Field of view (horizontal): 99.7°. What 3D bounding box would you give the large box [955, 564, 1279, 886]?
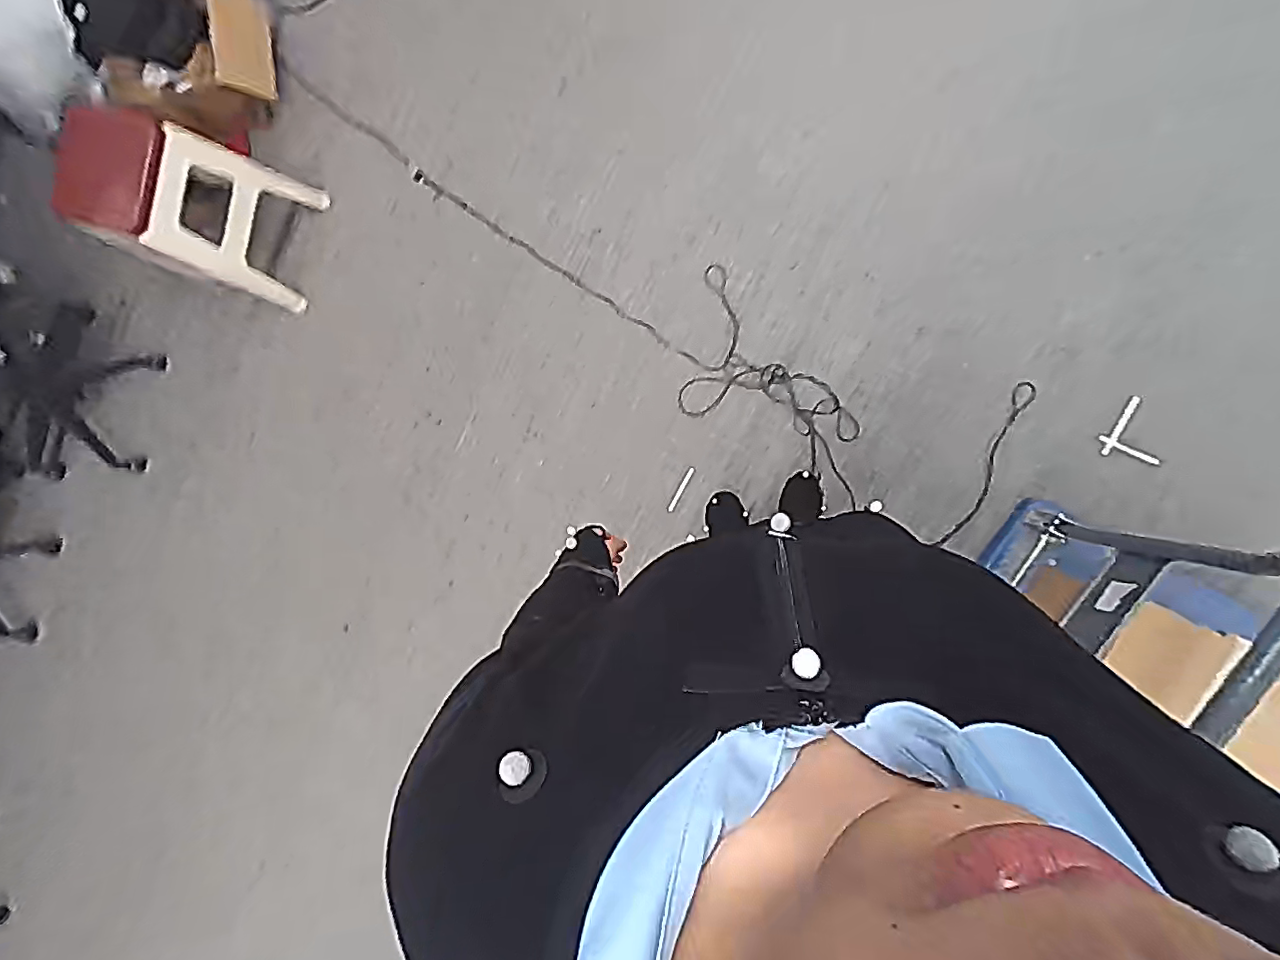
[{"bbox_3d":[0.901,0.427,1.046,0.320,0.320,0.408,27,97,11],"label":"large box"}]
